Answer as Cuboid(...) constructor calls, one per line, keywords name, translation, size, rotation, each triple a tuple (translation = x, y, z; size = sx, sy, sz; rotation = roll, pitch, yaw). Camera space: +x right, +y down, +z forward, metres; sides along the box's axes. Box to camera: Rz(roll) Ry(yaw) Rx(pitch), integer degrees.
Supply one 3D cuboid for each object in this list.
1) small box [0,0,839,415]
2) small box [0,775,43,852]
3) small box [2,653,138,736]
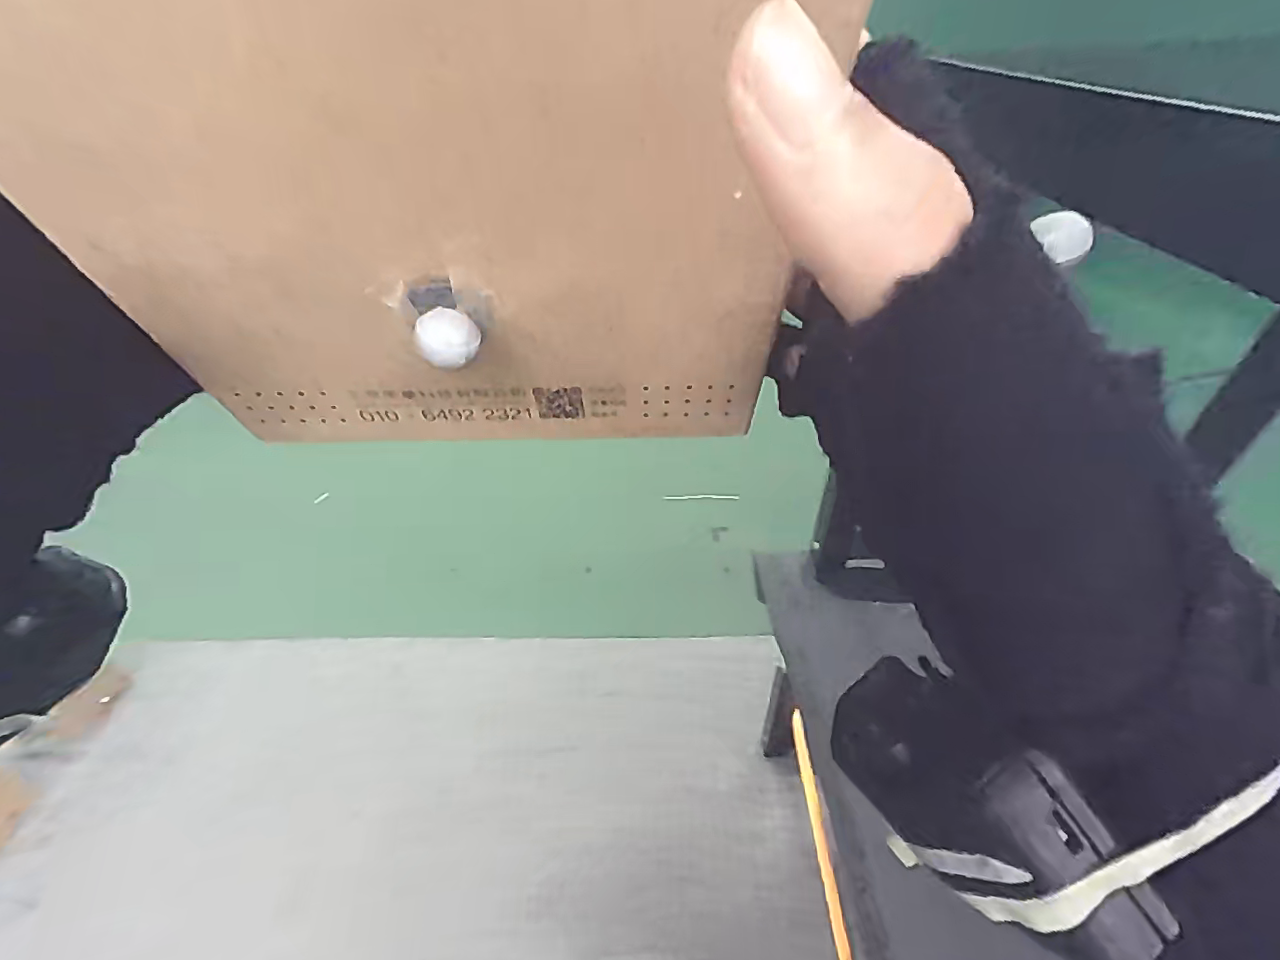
Cuboid(name="small box", translation=(-0.047, -0.139, 0.165), size=(0.168, 0.176, 0.179), rotation=(-2, 58, 0))
Cuboid(name="small box", translation=(-1.668, 0.837, 1.331), size=(0.179, 0.176, 0.168), rotation=(-2, 40, 3))
Cuboid(name="small box", translation=(-1.654, 0.628, 1.581), size=(0.179, 0.176, 0.168), rotation=(2, 40, 5))
